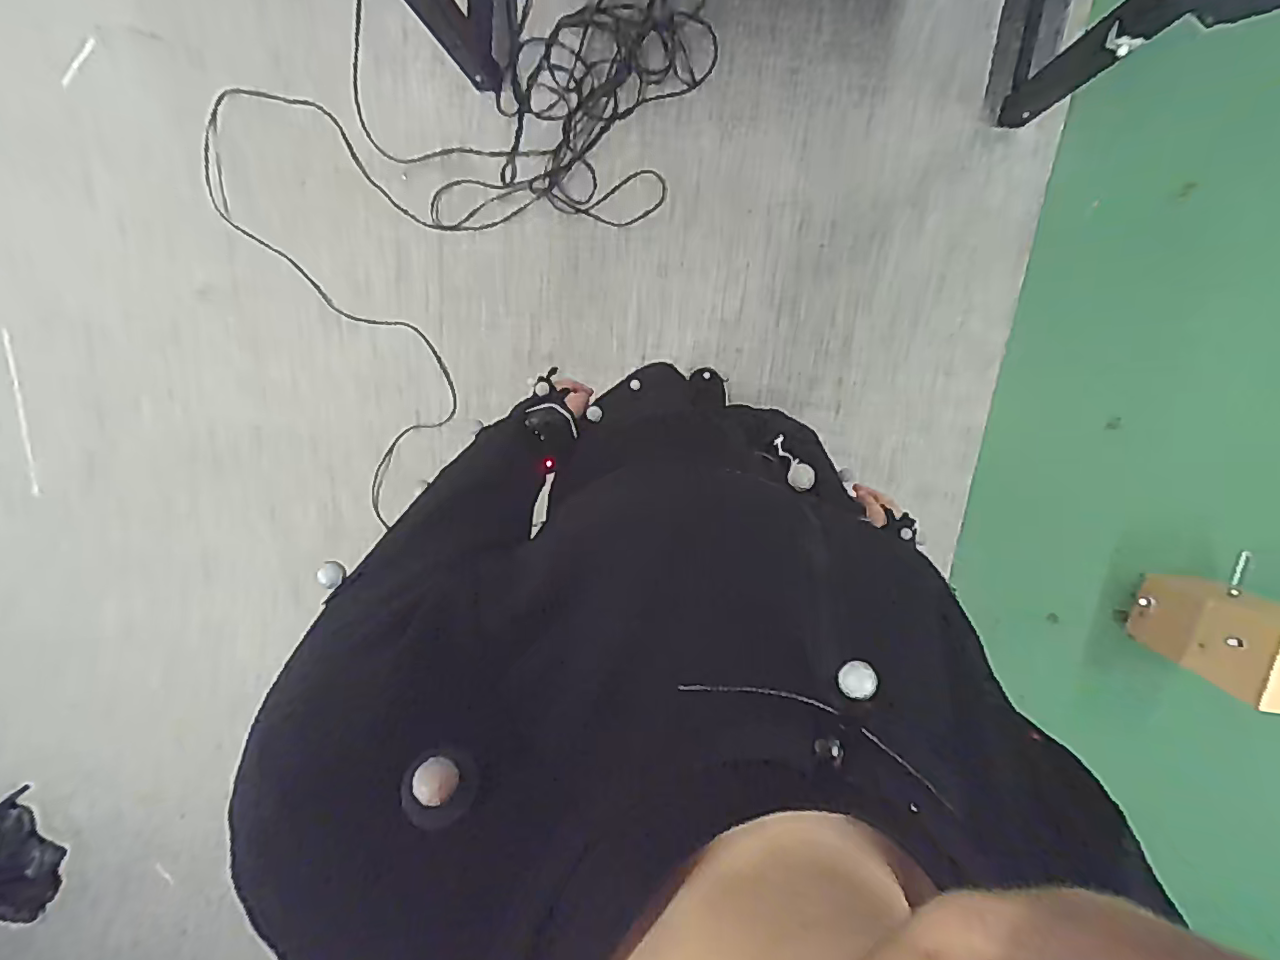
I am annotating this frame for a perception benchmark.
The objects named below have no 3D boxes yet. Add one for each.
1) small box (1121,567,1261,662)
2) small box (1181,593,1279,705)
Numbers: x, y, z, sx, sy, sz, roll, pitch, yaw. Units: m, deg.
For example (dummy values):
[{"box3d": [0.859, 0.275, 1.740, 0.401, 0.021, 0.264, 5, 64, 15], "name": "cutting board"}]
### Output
[{"box3d": [1.294, 0.314, 1.260, 0.179, 0.176, 0.168, 6, 103, 4], "name": "small box"}, {"box3d": [1.277, 0.341, 1.100, 0.179, 0.176, 0.168, 4, 103, 3], "name": "small box"}]
